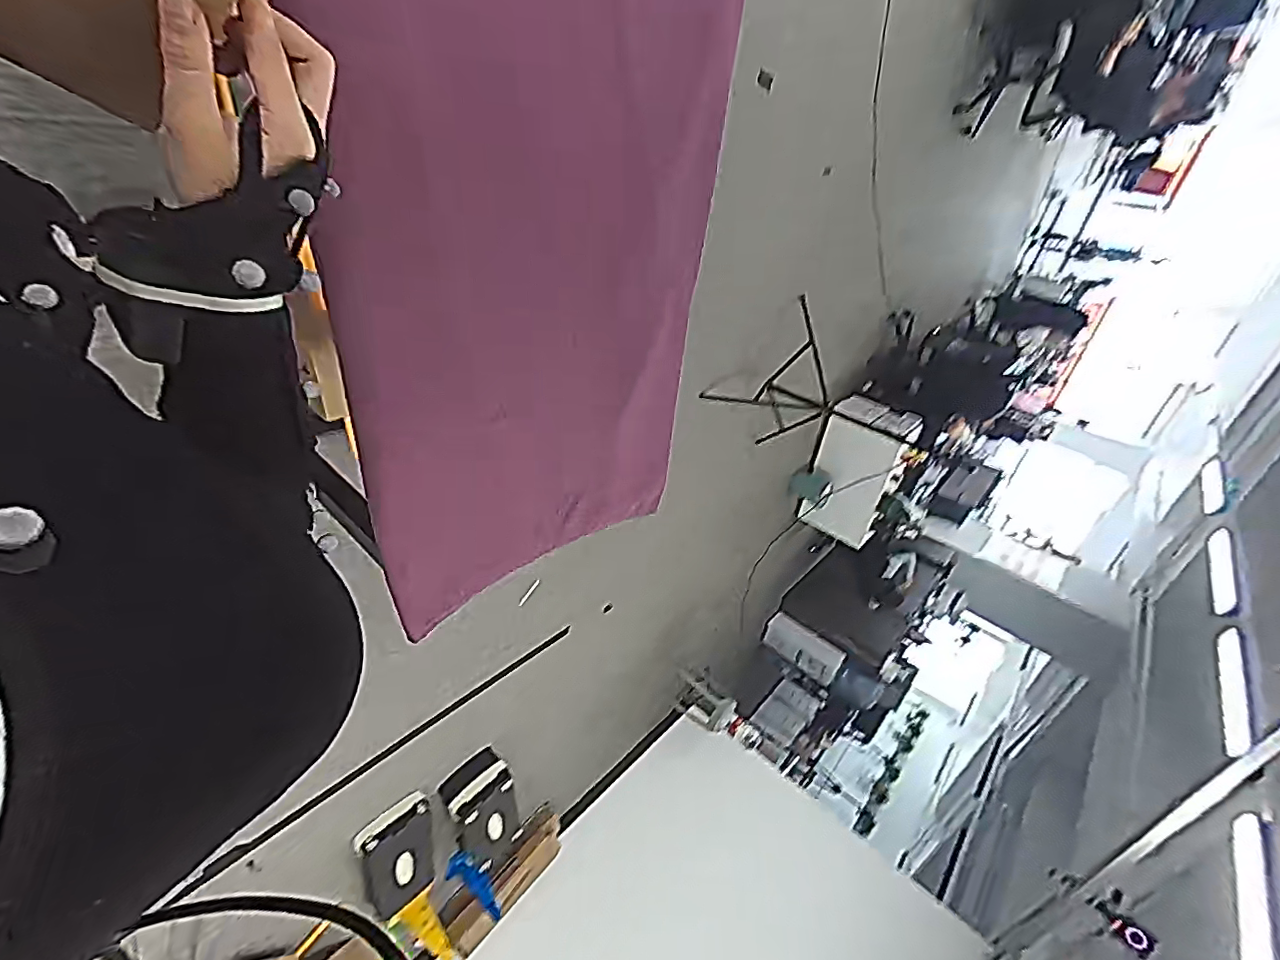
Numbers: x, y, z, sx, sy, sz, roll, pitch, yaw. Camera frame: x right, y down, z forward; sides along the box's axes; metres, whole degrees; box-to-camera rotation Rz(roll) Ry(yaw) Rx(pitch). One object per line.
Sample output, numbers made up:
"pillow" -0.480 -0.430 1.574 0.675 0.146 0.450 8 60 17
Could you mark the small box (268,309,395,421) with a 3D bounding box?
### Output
"small box" -0.643 -0.250 1.130 0.168 0.176 0.179 -26 135 -41
